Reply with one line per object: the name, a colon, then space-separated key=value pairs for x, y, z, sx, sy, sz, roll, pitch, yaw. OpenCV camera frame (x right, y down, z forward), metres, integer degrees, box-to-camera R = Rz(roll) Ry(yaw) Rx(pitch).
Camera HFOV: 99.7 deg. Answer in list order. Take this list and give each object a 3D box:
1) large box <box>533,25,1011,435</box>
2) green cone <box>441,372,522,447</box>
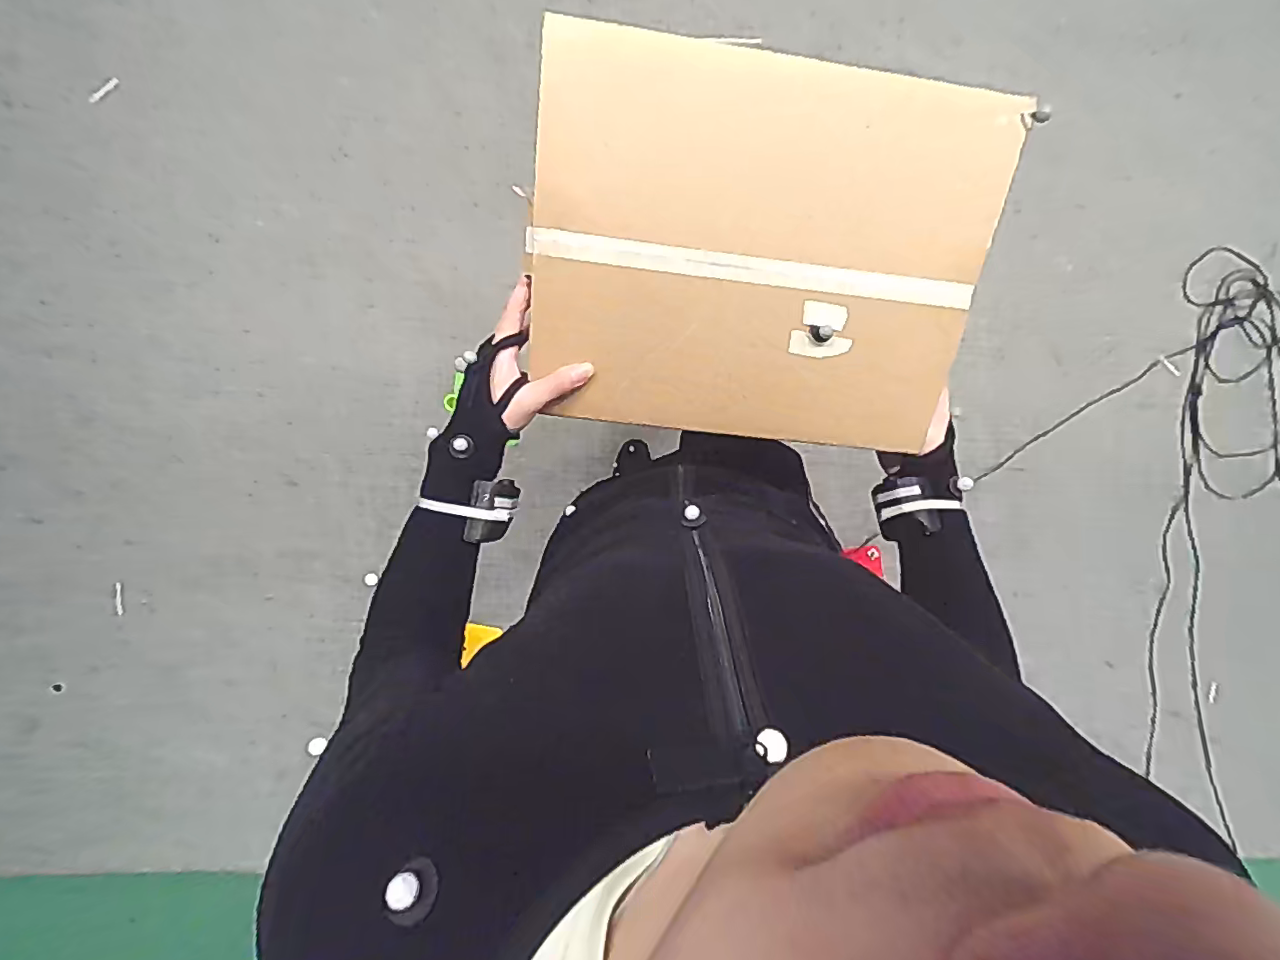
large box: x=0.094 y=-0.255 z=0.632 sx=0.408 sy=0.320 sz=0.320 roll=5 pitch=112 yaw=-6
green cone: x=-0.444 y=-0.185 z=1.405 sx=0.200 sy=0.368 sz=0.202 roll=7 pitch=96 yaw=-3
